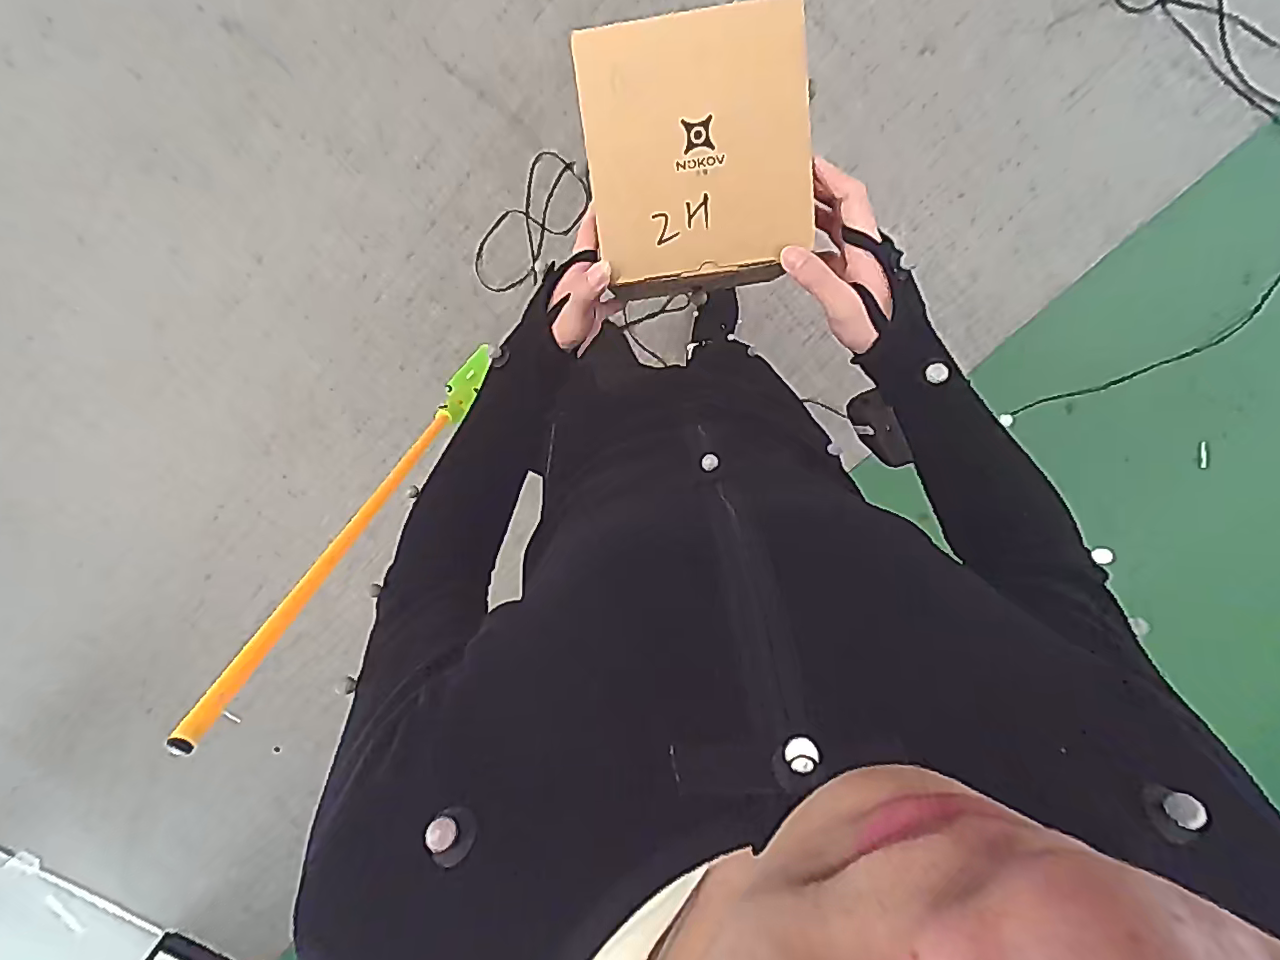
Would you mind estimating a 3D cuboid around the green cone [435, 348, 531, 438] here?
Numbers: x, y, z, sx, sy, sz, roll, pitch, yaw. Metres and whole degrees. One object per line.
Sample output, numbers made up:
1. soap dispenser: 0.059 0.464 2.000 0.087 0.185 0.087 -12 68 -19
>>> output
1. green cone: -0.445 -0.190 1.398 0.202 0.368 0.200 -43 104 14
